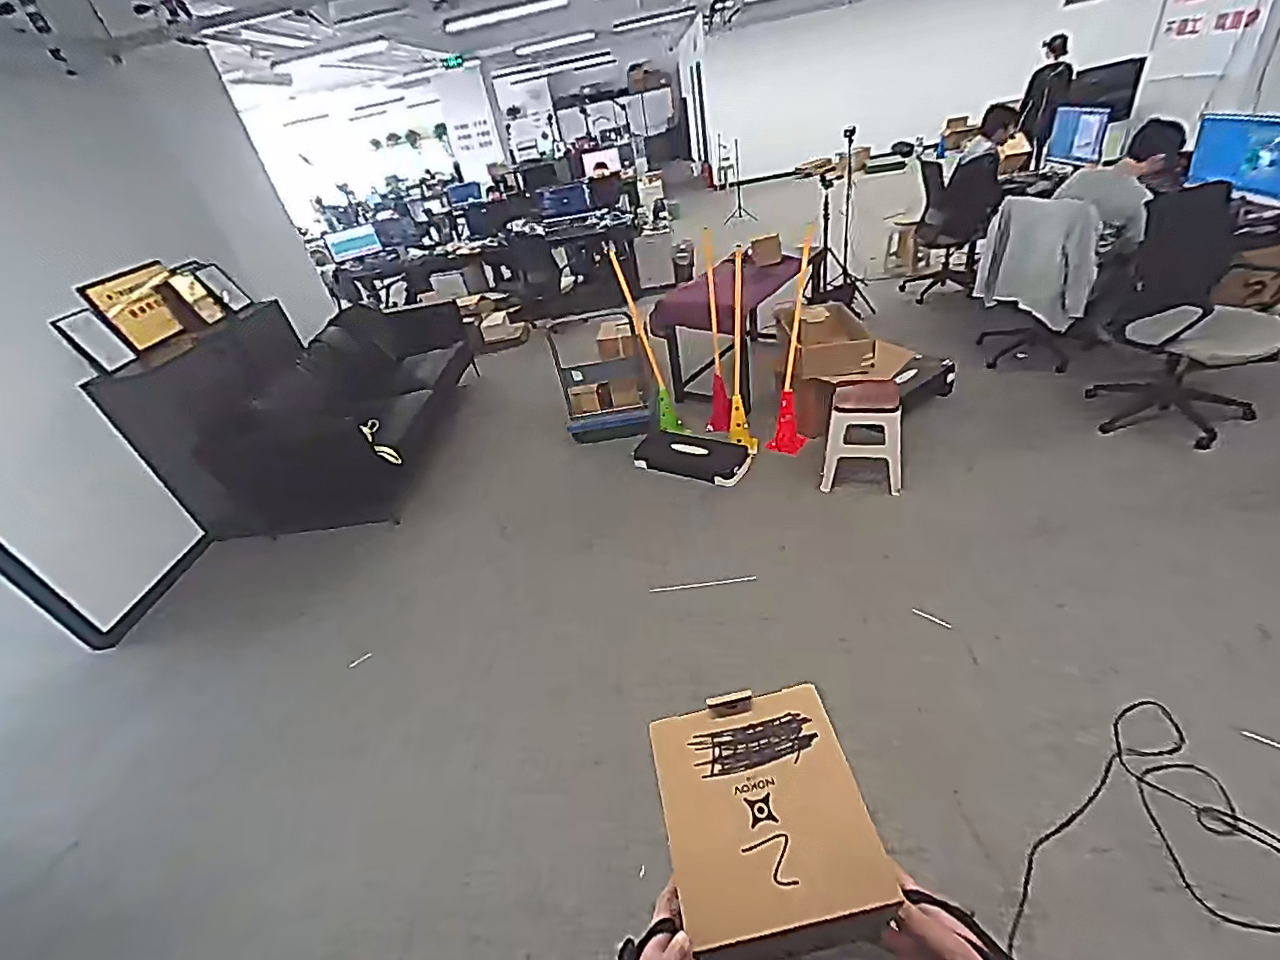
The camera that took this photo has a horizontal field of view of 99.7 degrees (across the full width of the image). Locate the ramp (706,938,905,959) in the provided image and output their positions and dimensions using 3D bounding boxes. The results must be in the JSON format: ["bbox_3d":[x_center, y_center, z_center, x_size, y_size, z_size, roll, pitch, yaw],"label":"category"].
[{"bbox_3d":[0.390,1.384,0.915,0.509,0.206,0.991,-10,33,5],"label":"ramp"}]
